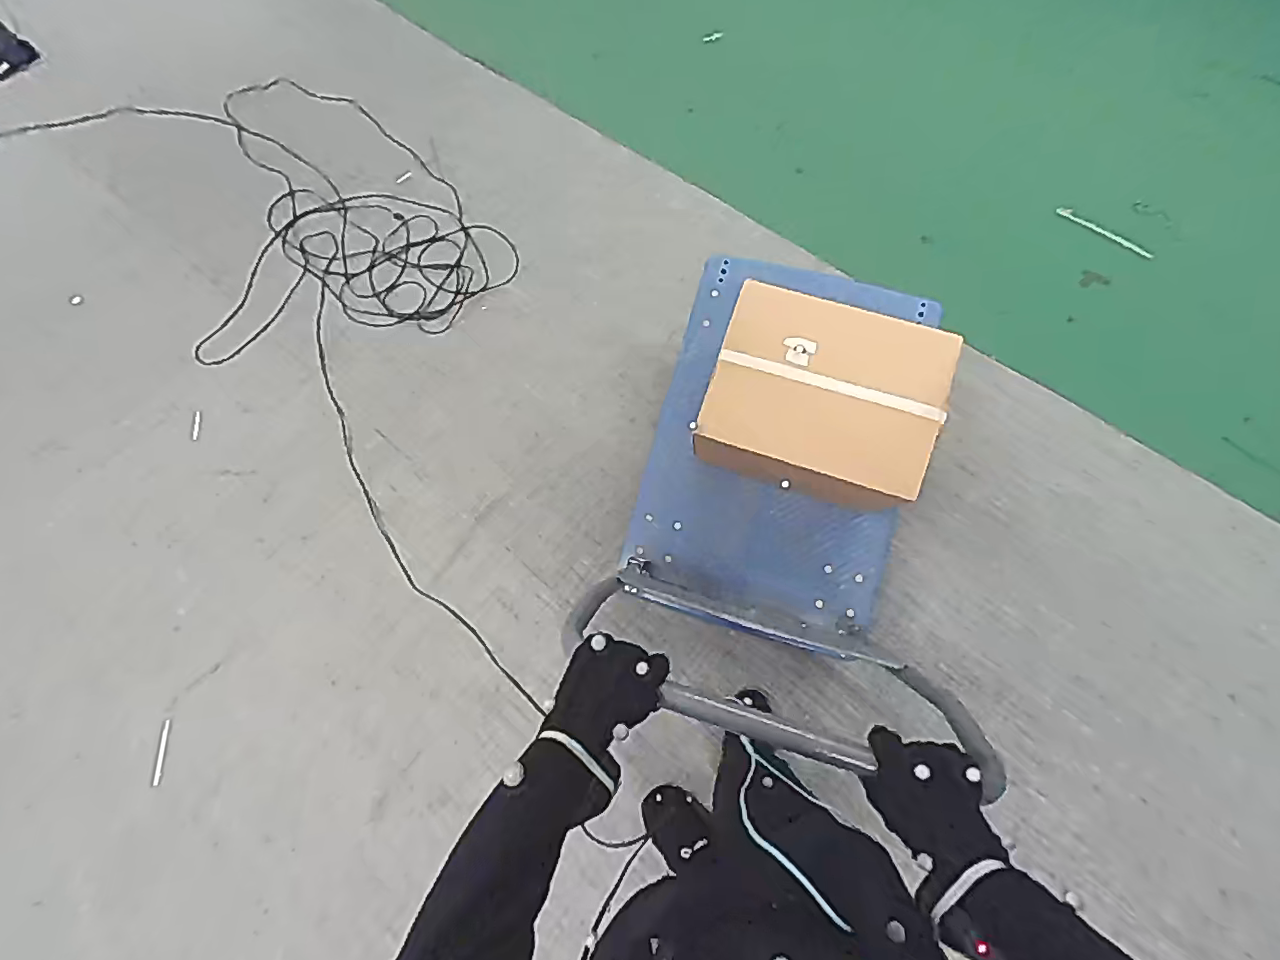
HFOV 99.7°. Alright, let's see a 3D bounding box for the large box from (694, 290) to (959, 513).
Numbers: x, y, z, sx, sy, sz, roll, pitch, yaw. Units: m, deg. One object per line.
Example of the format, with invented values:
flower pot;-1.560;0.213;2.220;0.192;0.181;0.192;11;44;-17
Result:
large box;0.353;-0.139;1.120;0.408;0.320;0.320;19;85;9
